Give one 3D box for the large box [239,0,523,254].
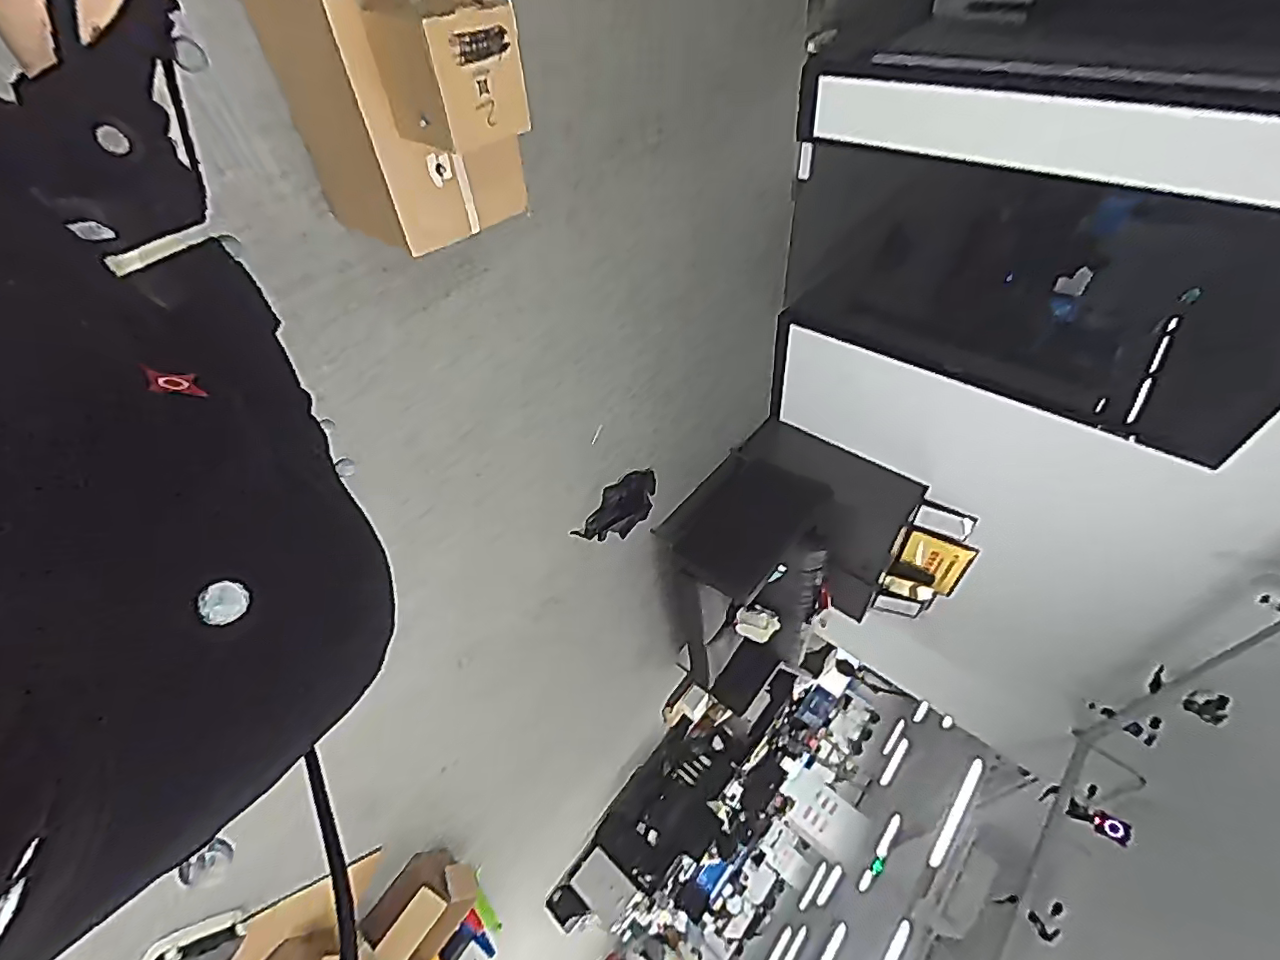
[{"bbox_3d":[-0.486,-0.741,1.083,0.320,0.320,0.408,-40,148,-29],"label":"large box"}]
